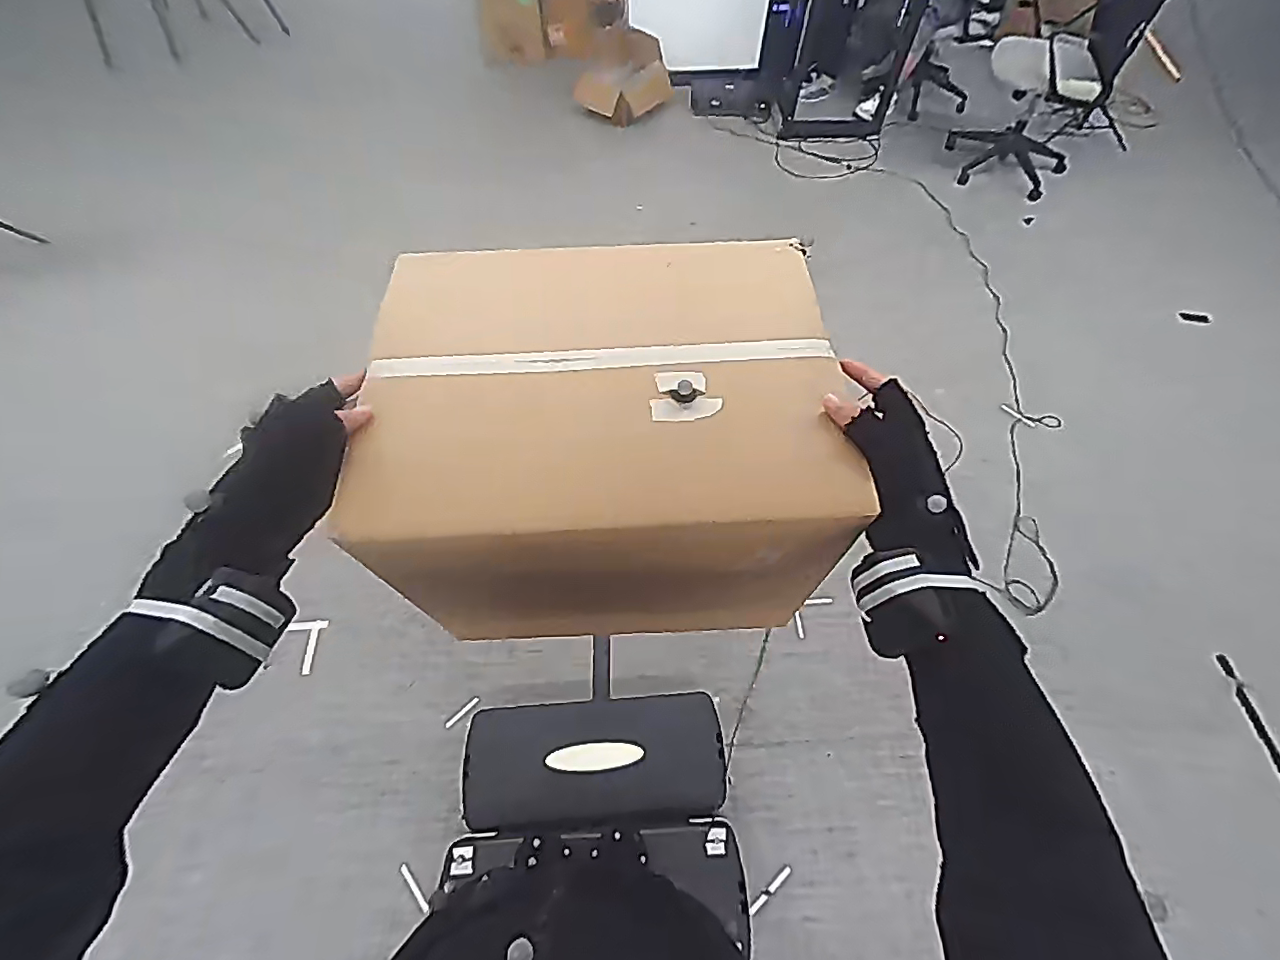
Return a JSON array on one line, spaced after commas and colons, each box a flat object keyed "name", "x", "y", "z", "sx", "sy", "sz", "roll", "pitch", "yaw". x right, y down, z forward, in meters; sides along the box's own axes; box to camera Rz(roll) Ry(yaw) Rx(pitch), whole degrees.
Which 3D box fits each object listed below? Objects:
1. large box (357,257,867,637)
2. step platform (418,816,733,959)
[{"name": "large box", "x": -0.028, "y": -0.021, "z": 0.616, "sx": 0.408, "sy": 0.320, "sz": 0.320, "roll": -2, "pitch": 61, "yaw": -1}, {"name": "step platform", "x": -0.134, "y": 0.952, "z": 1.229, "sx": 0.684, "sy": 0.204, "sz": 0.286, "roll": -3, "pitch": 59, "yaw": -1}]
